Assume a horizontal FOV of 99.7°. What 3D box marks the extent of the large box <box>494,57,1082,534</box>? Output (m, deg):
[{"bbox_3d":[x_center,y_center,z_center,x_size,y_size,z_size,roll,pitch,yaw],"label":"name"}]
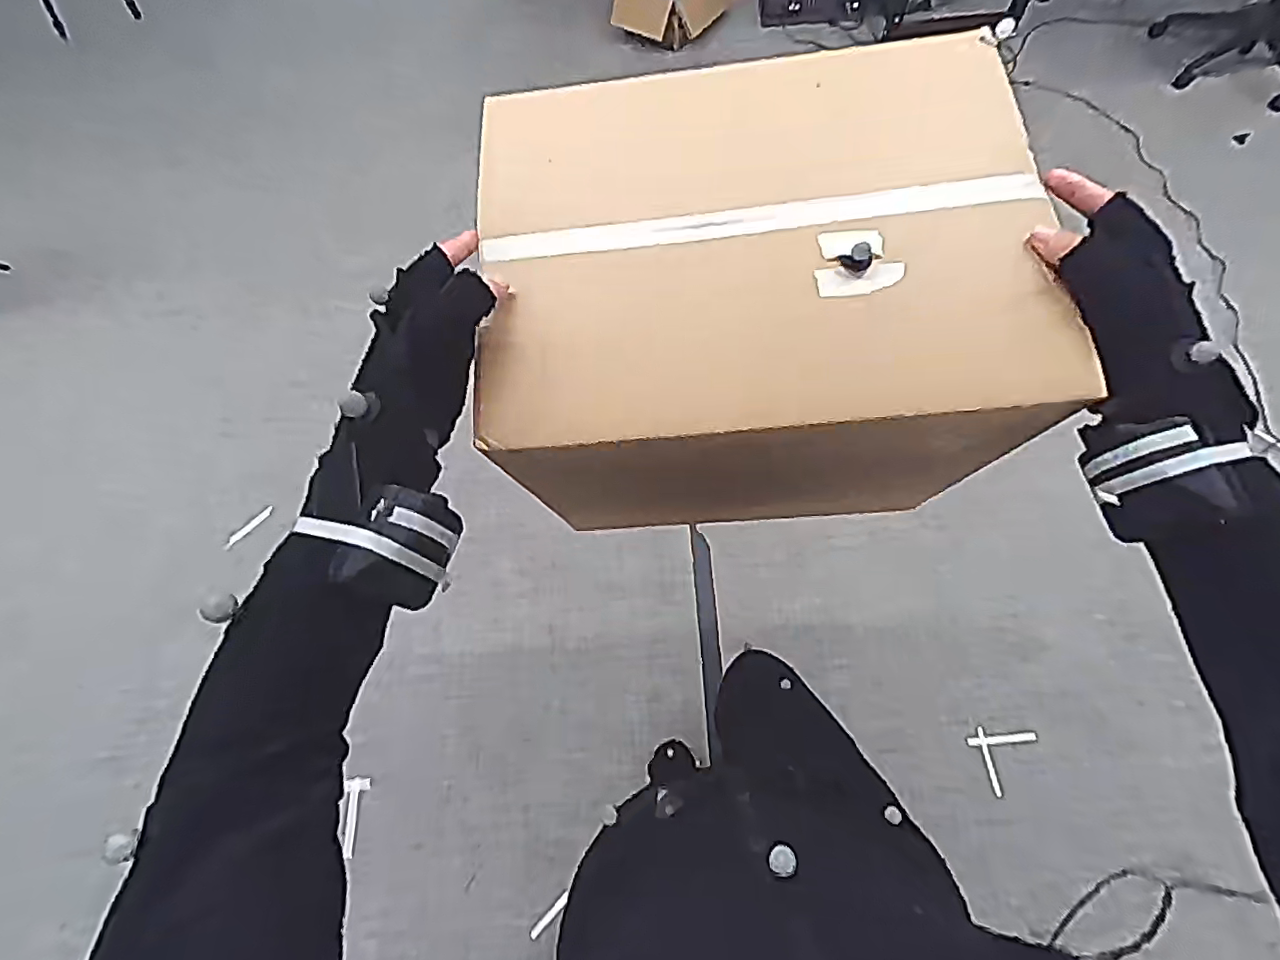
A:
[{"bbox_3d":[0.095,-0.139,0.550,0.408,0.320,0.320,-5,74,4],"label":"large box"}]
